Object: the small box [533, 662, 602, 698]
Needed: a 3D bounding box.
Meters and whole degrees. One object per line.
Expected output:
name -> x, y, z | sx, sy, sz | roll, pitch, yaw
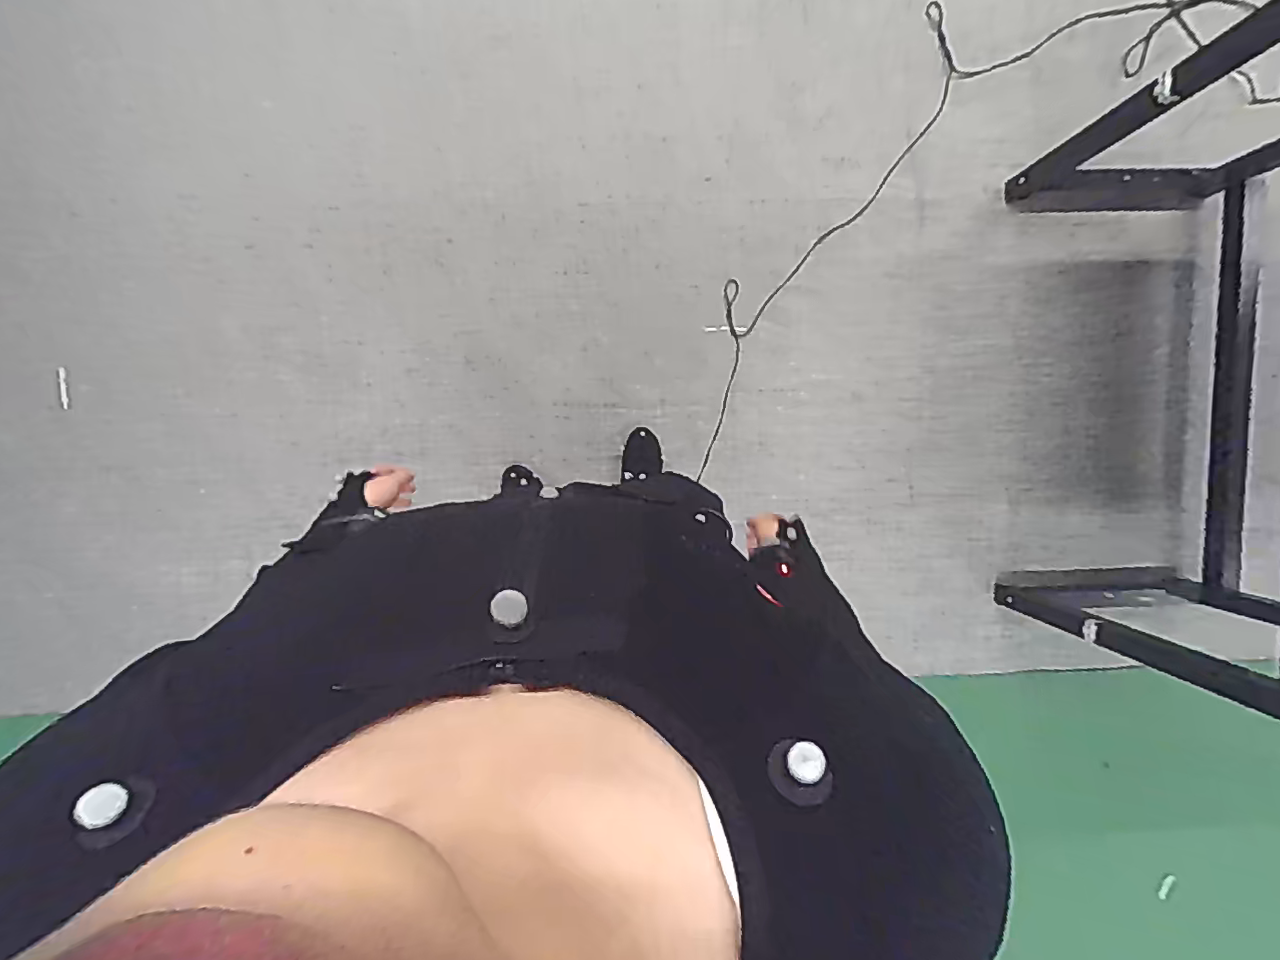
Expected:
small box -> -0.189, 0.589, 1.382 | 0.168, 0.176, 0.179 | 7, 91, -4
